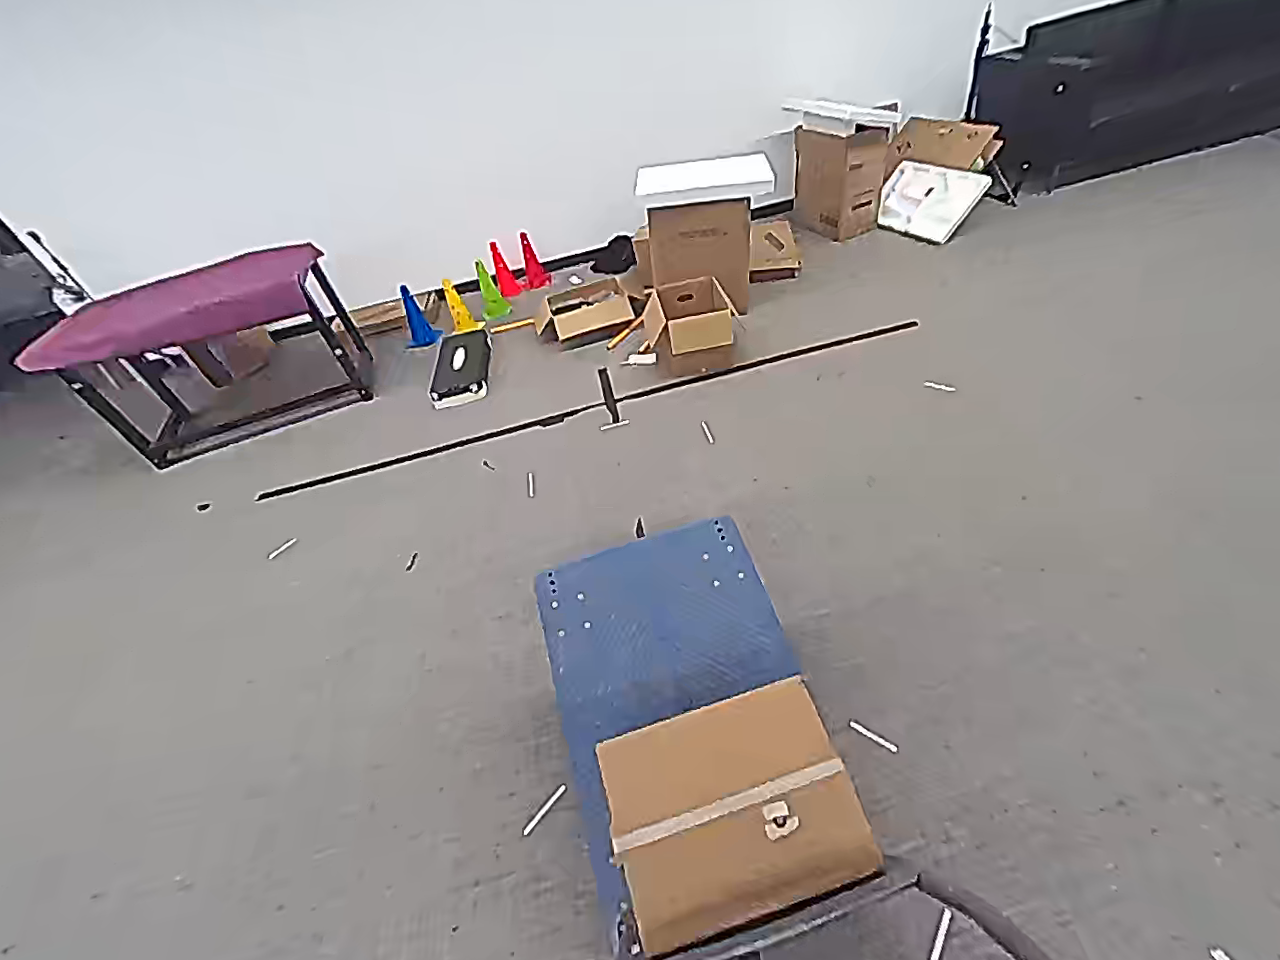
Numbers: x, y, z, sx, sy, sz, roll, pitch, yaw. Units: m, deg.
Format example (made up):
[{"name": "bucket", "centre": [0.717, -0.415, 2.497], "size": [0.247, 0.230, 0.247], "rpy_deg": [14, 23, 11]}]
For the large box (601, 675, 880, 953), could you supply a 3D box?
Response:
[{"name": "large box", "centre": [0.169, 0.630, 1.061], "size": [0.408, 0.320, 0.320], "rpy_deg": [-17, 61, -6]}]
